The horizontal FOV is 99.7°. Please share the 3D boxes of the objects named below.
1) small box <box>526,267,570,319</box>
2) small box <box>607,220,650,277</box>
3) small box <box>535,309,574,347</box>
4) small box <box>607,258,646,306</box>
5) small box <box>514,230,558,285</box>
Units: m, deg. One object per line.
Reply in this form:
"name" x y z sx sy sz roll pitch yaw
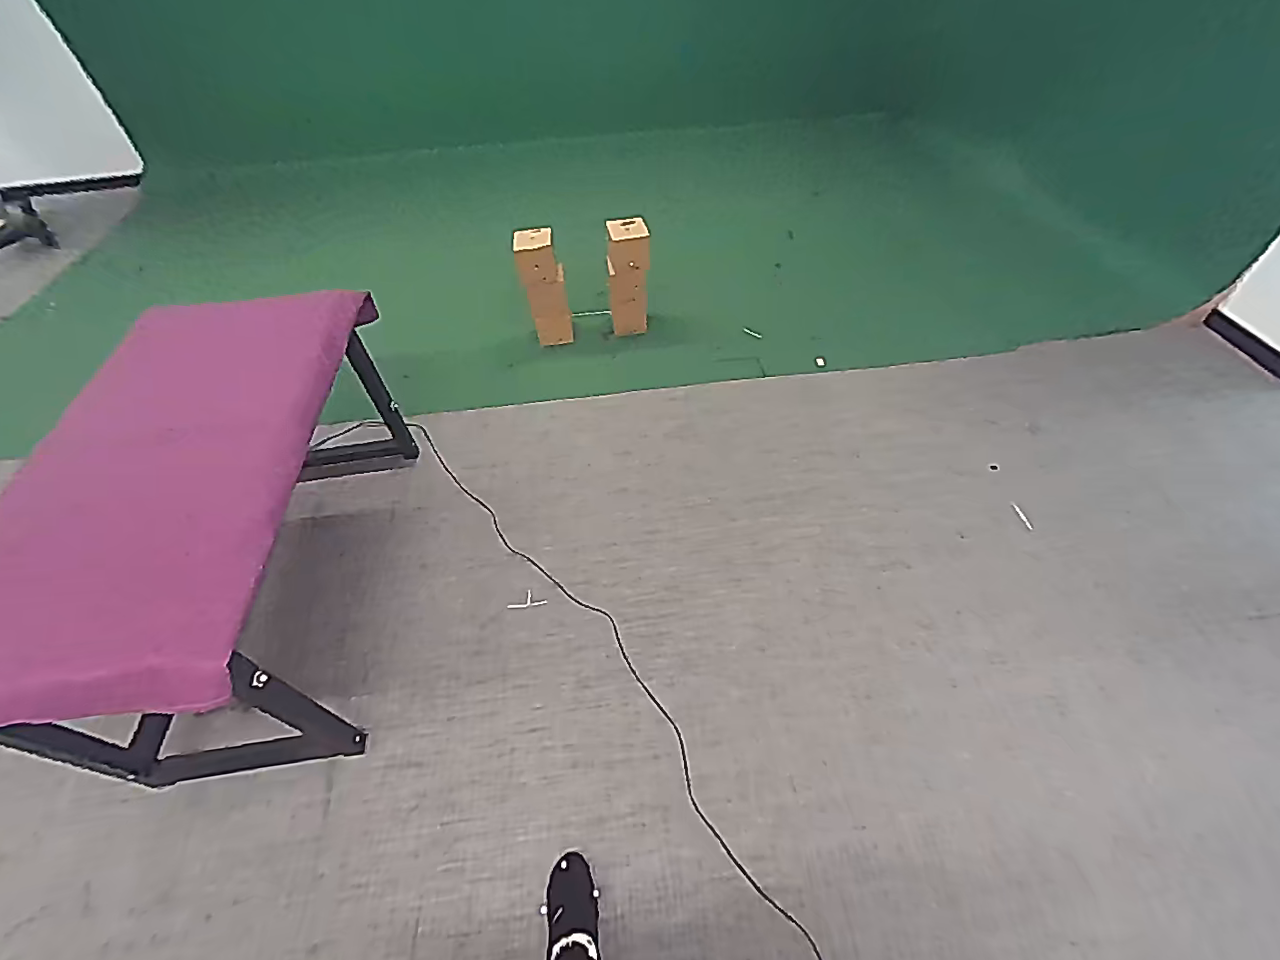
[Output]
"small box" -0.433 -0.877 2.545 0.179 0.176 0.168 -8 50 -3
"small box" -0.054 -1.048 2.448 0.168 0.176 0.179 -11 52 -6
"small box" -0.422 -0.775 2.673 0.168 0.176 0.179 -8 49 -2
"small box" -0.062 -0.943 2.574 0.168 0.176 0.179 -7 51 -3
"small box" -0.464 -0.991 2.428 0.168 0.176 0.179 -8 50 -1
